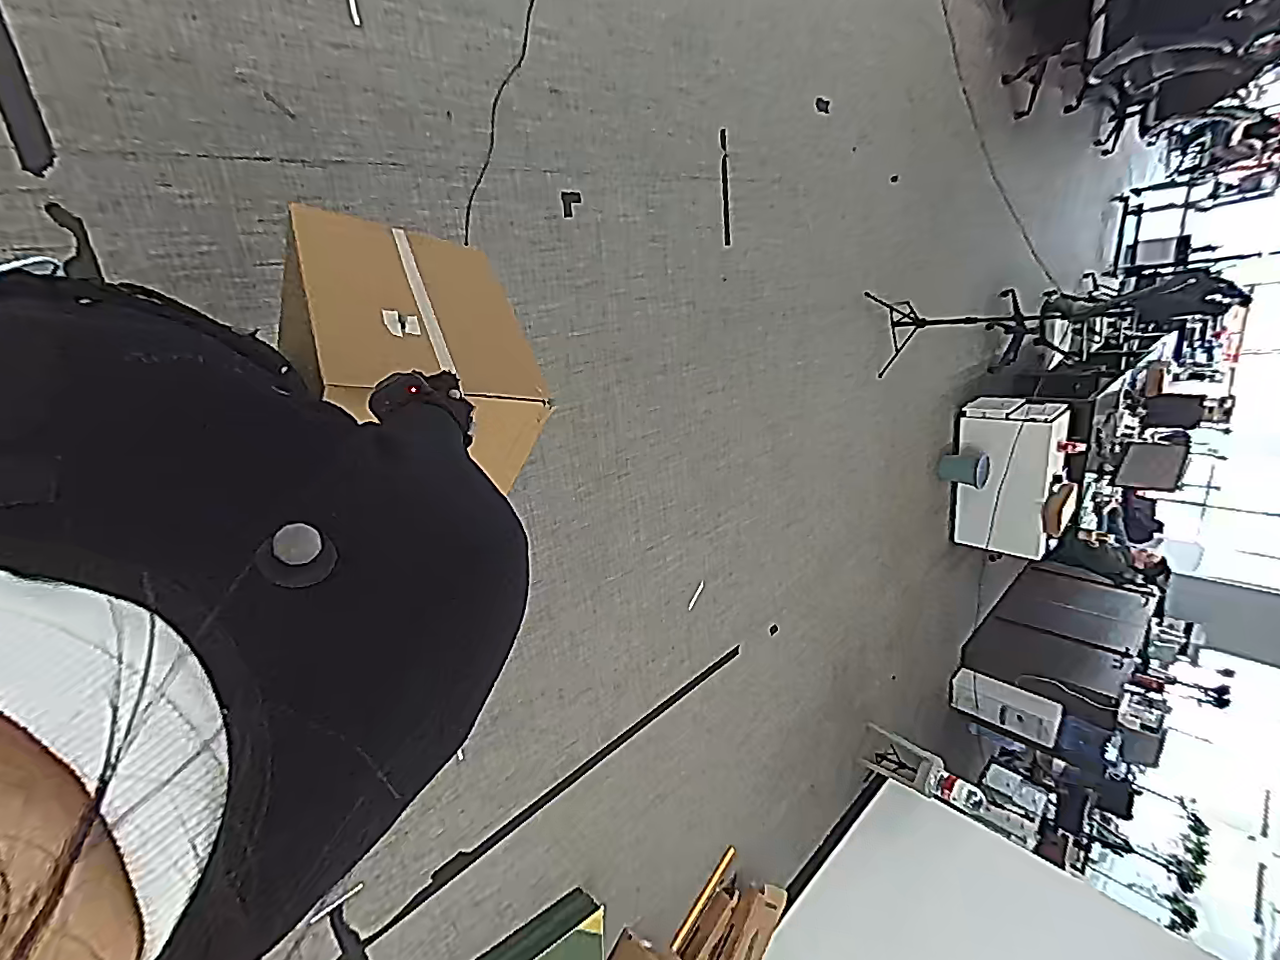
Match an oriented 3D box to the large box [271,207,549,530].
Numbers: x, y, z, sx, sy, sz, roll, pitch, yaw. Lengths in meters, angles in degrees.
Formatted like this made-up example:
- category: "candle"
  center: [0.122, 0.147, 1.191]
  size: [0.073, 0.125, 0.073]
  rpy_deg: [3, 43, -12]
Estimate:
- category: "large box"
  center: [-0.413, -0.172, 0.919]
  size: [0.320, 0.408, 0.320]
  rpy_deg: [-2, 144, -39]
